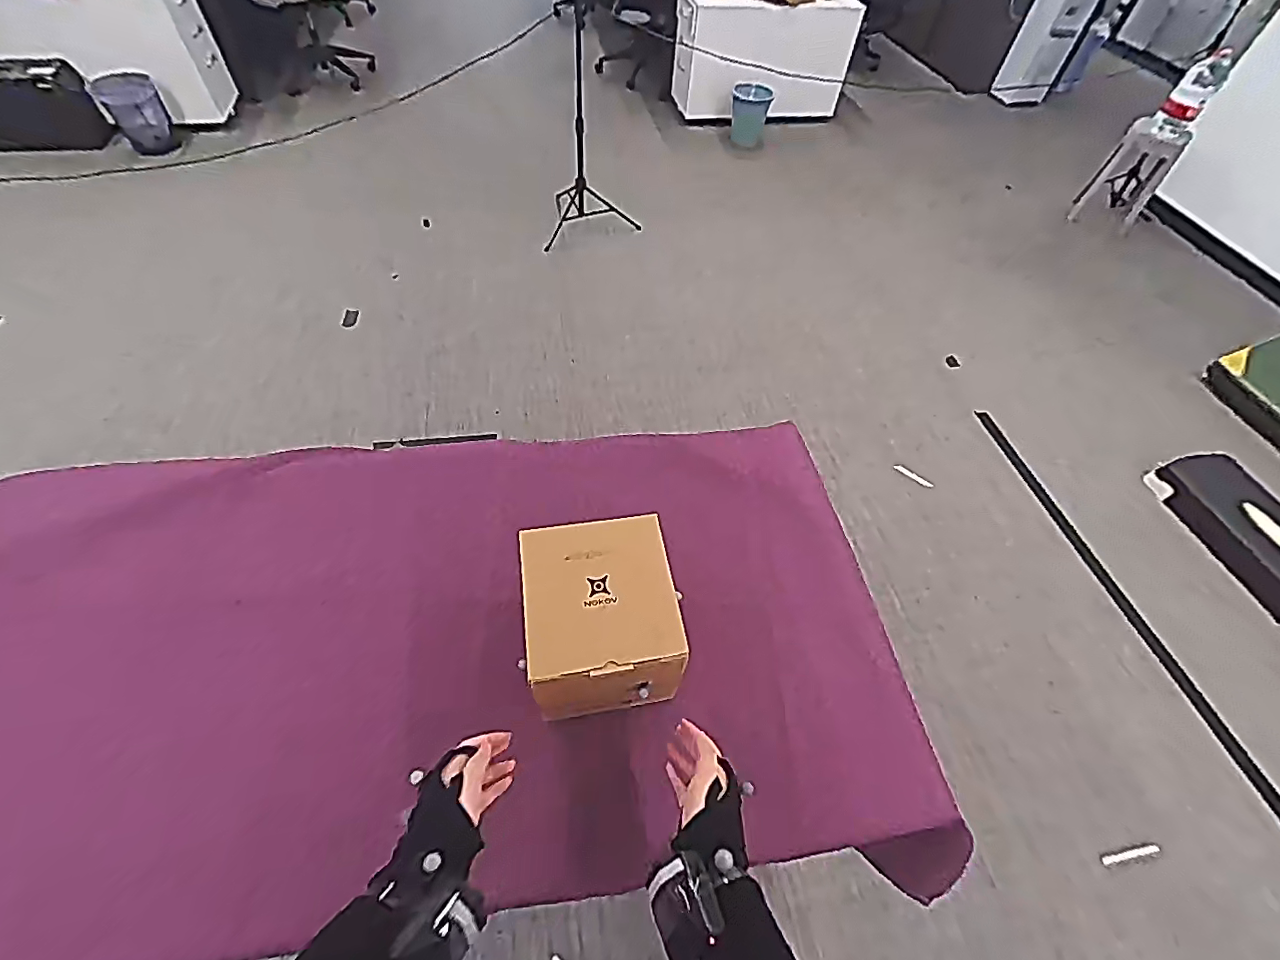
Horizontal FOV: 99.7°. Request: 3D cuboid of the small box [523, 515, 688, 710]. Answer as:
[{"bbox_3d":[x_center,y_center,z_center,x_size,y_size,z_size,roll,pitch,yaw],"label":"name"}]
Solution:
[{"bbox_3d":[-0.047,0.166,0.654,0.168,0.176,0.179,-6,54,-9],"label":"small box"}]
